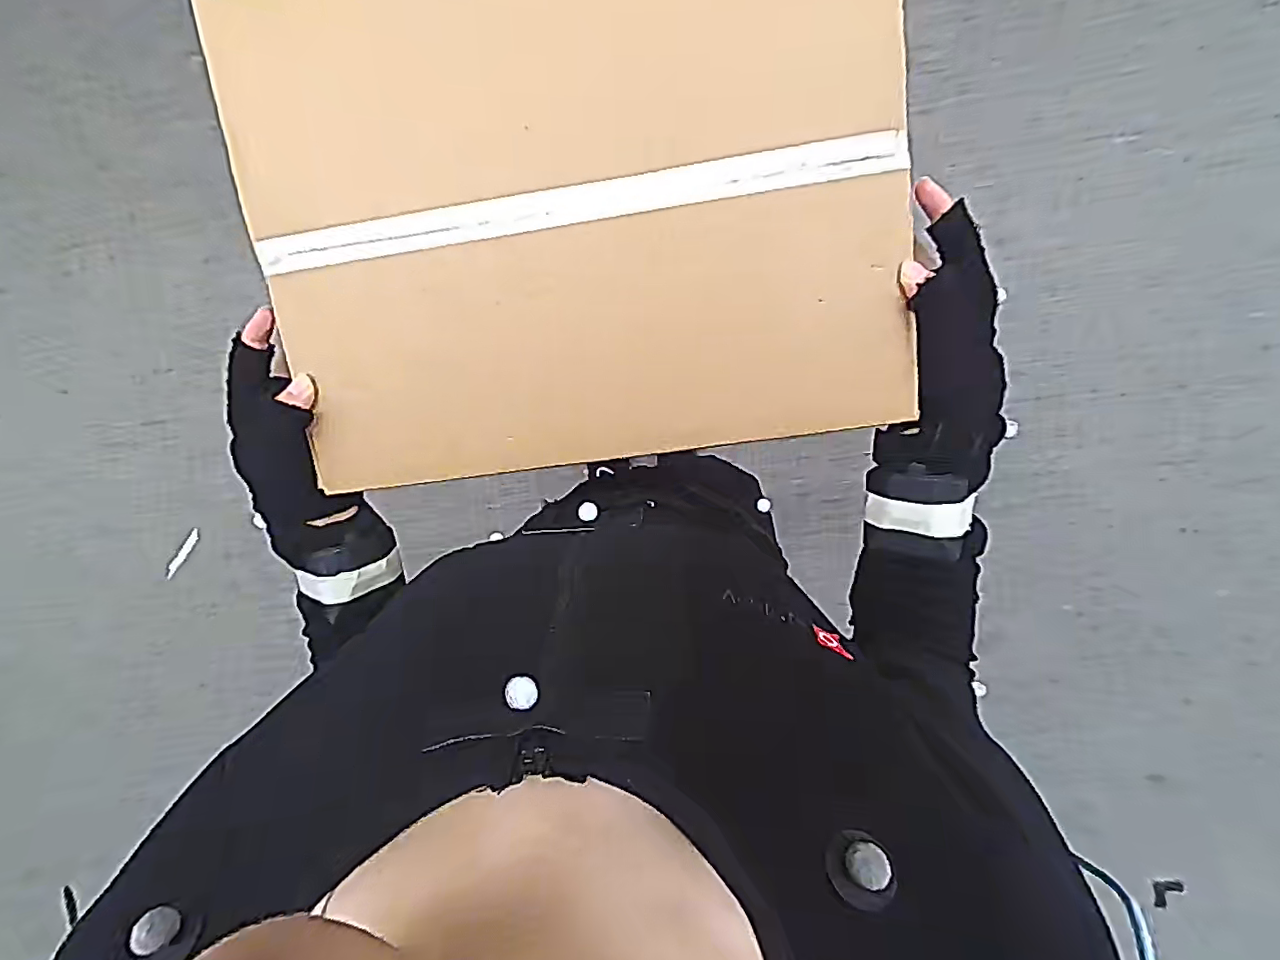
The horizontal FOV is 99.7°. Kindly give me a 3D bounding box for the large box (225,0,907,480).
[{"bbox_3d":[-0.035,-0.202,0.489,0.408,0.320,0.320,-7,102,5],"label":"large box"}]
